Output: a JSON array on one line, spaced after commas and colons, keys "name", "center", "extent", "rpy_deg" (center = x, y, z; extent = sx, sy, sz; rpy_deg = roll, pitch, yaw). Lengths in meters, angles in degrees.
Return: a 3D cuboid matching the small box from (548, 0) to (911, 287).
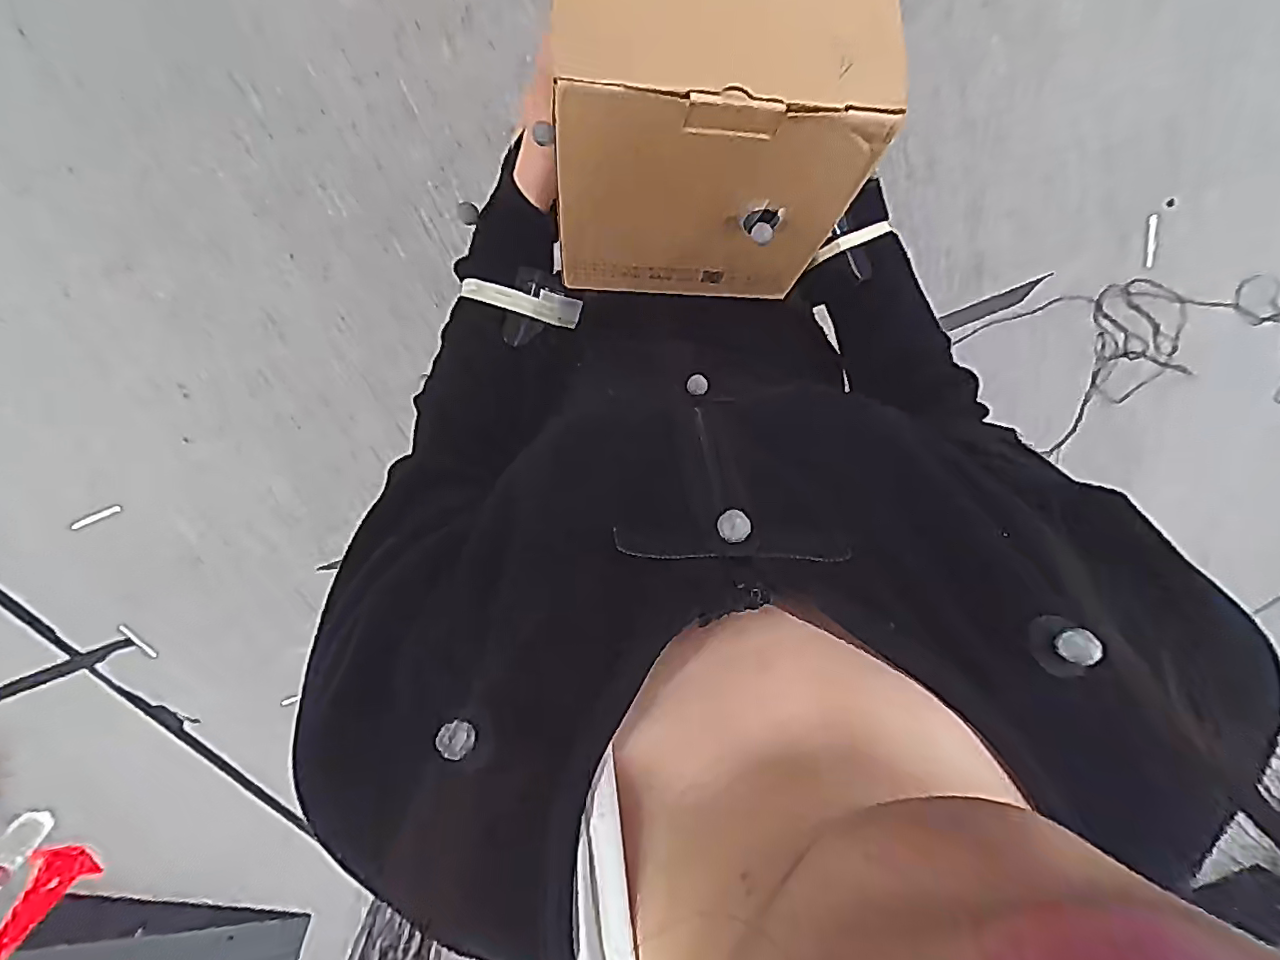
[{"name": "small box", "center": [0.034, -0.240, 0.332], "extent": [0.168, 0.176, 0.179], "rpy_deg": [1, 78, -7]}]
